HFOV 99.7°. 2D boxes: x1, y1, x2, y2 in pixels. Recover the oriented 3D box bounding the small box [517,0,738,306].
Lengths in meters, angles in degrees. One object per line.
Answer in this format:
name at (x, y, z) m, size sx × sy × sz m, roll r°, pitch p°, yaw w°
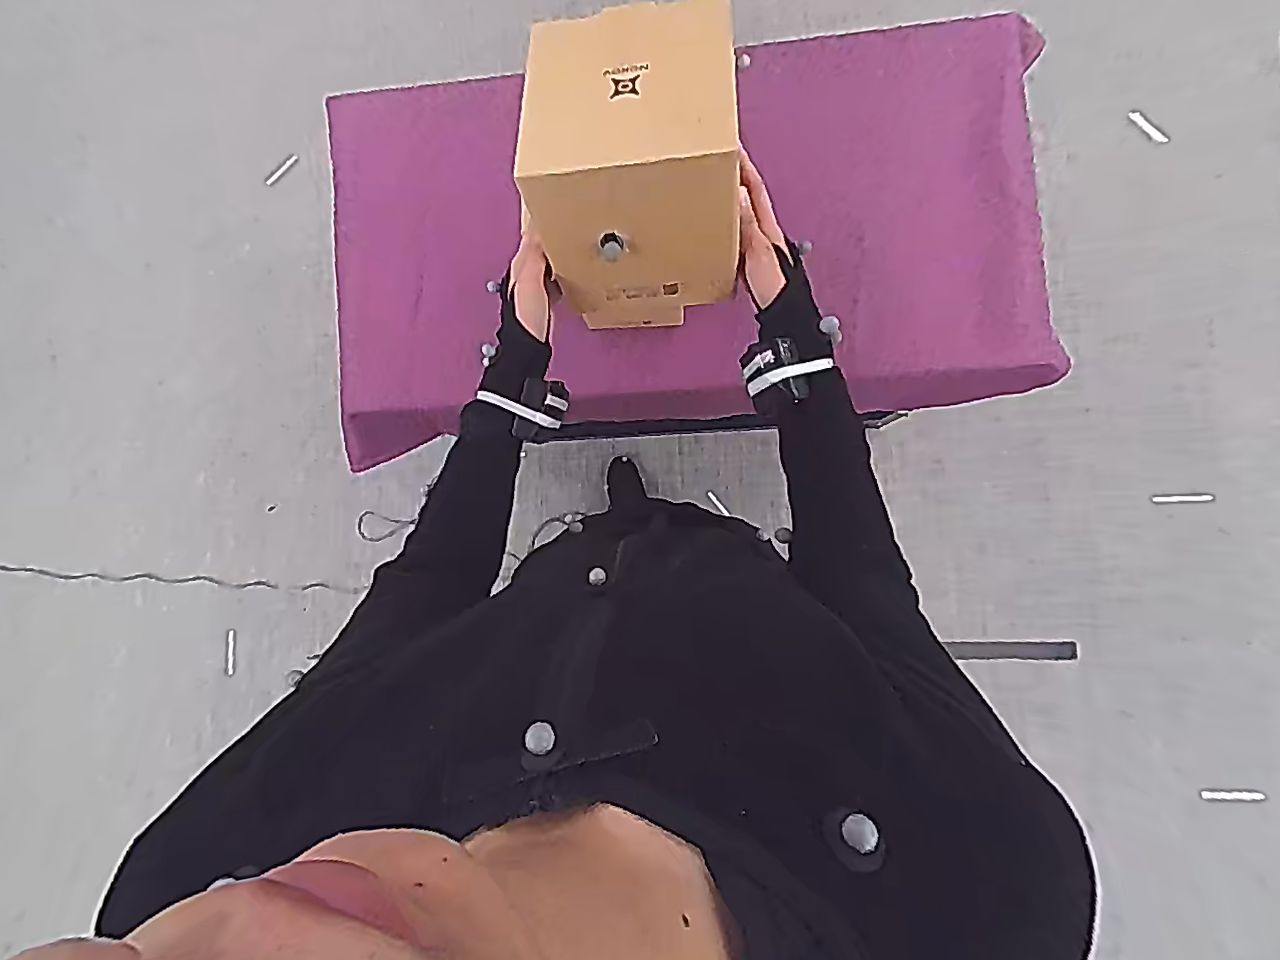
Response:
small box at (0.003, -0.275, 0.488) m, size 0.168 × 0.176 × 0.179 m, roll -2°, pitch 70°, yaw 8°
